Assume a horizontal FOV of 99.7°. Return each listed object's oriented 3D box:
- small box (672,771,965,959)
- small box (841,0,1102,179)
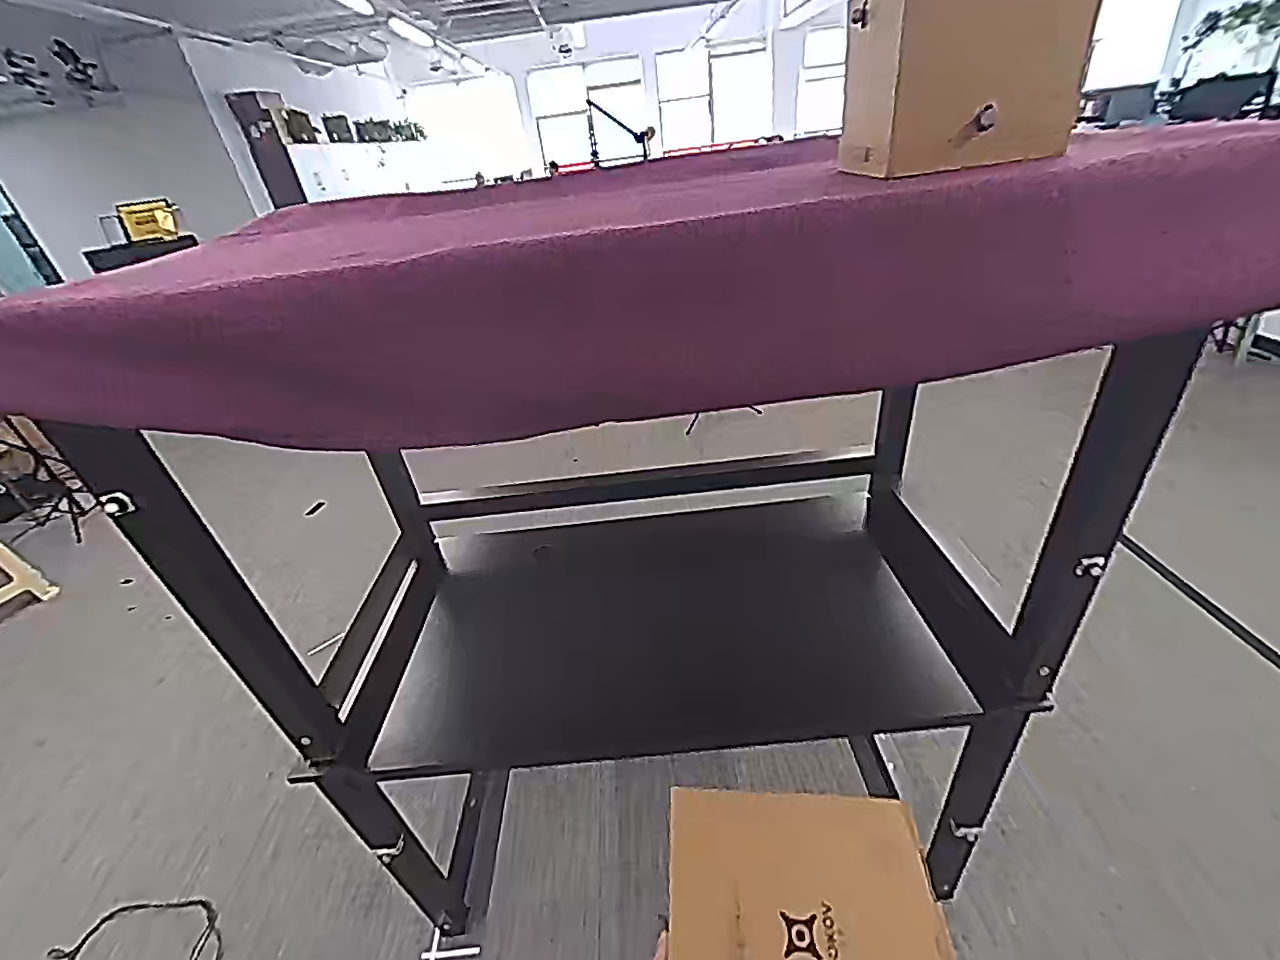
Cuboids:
[{"bbox_3d":[0.112,0.334,0.391,0.179,0.176,0.168,1,41,5],"label":"small box"},{"bbox_3d":[0.323,-0.421,0.557,0.179,0.176,0.168,-6,31,4],"label":"small box"}]
